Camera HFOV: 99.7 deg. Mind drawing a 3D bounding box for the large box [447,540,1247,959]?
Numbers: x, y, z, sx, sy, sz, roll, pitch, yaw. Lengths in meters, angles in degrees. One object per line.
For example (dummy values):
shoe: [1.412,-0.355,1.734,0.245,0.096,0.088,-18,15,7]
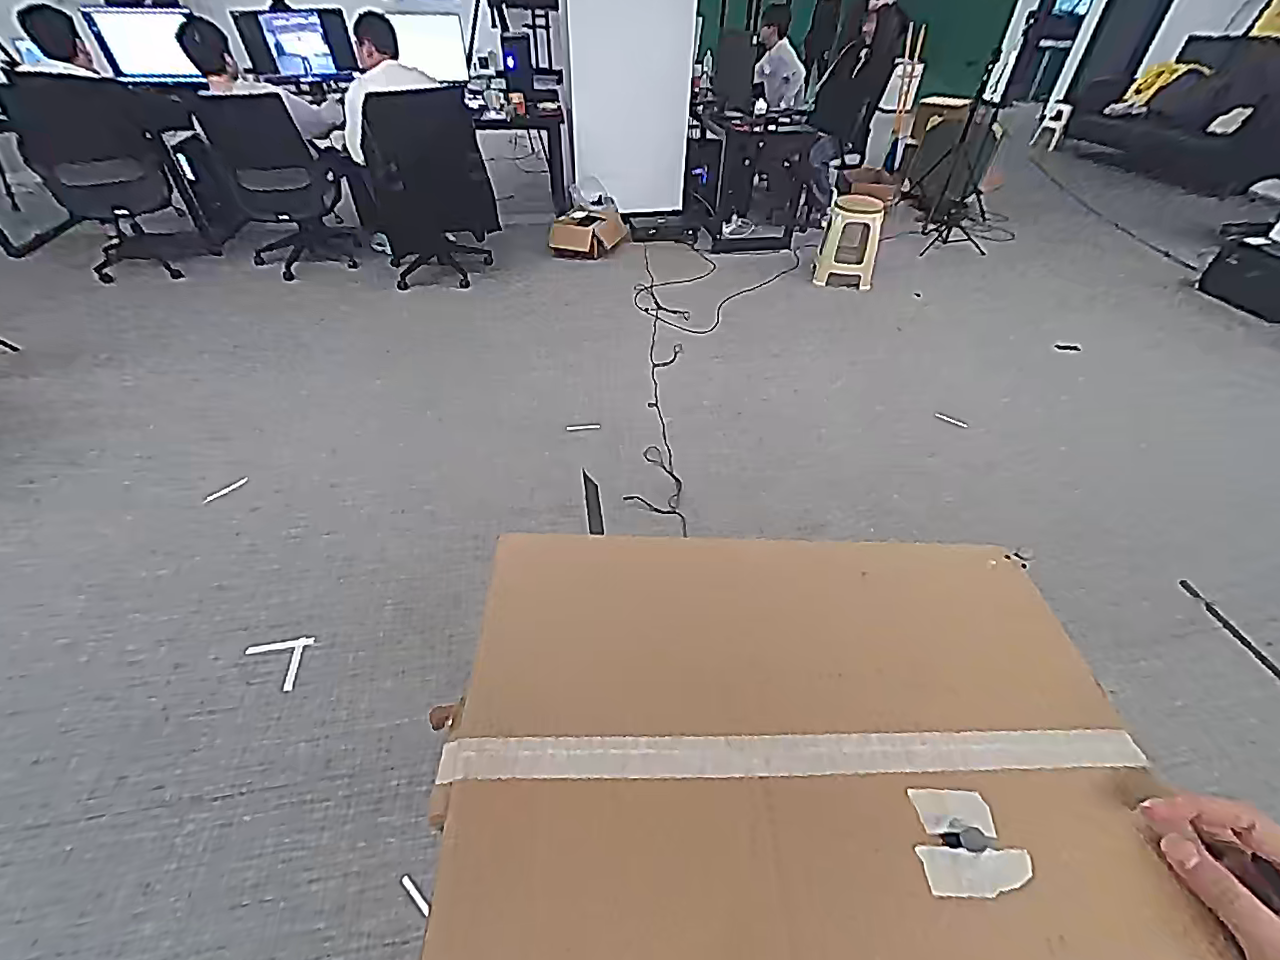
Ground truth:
large box: [0.087,0.265,0.430,0.408,0.320,0.320,3,47,-6]
